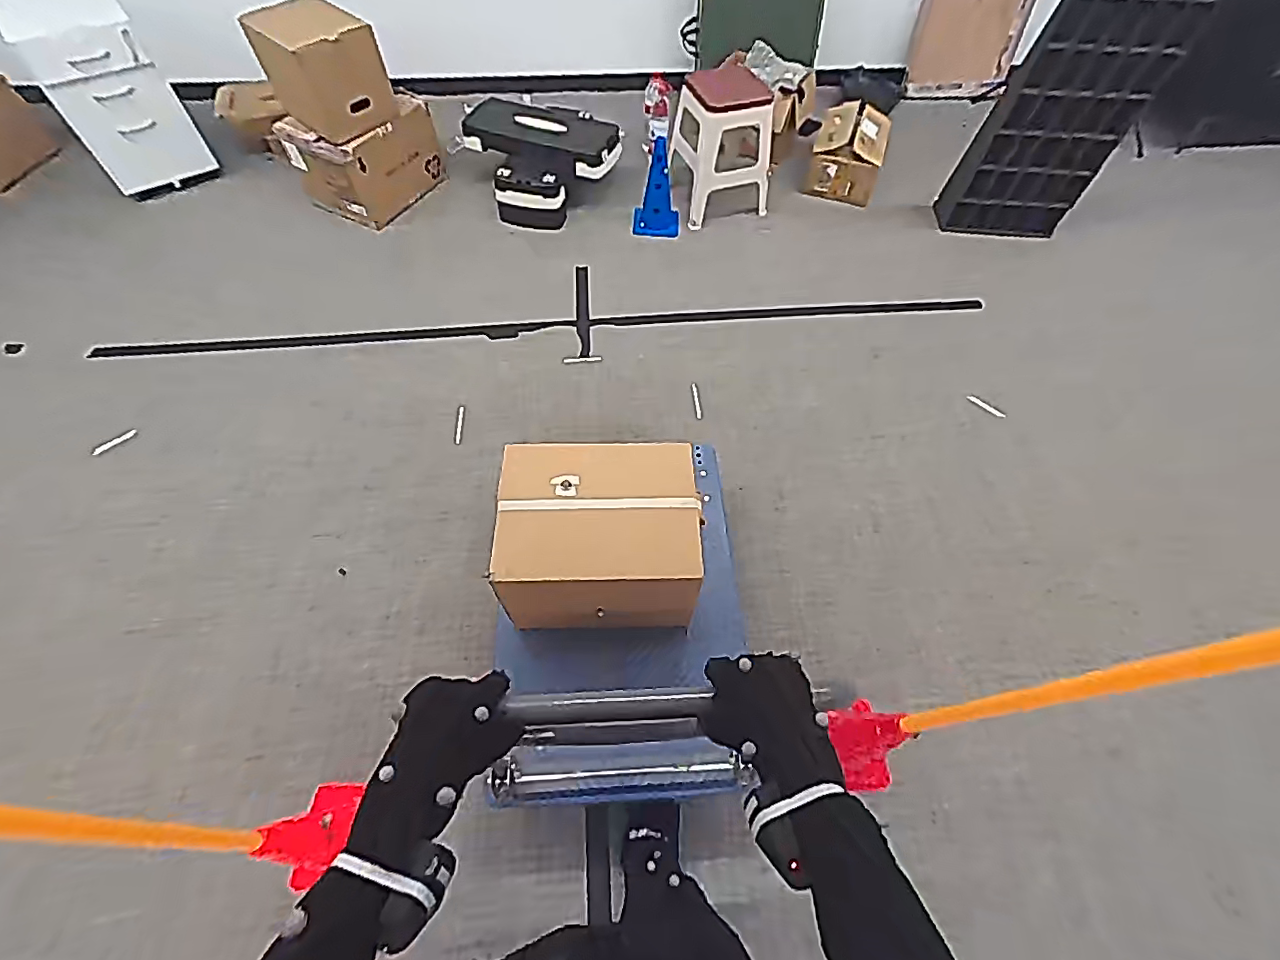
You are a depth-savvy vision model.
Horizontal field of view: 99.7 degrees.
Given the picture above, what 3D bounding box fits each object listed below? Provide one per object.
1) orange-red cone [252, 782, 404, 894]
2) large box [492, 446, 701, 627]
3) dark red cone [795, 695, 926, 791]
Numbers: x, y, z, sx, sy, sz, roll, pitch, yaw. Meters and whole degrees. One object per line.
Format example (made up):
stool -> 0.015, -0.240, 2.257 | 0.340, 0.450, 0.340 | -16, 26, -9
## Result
orange-red cone -> -0.632, 0.684, 1.042 | 0.198, 0.360, 0.199 | 3, 56, 0
large box -> -0.088, 0.138, 1.226 | 0.408, 0.320, 0.320 | -1, 58, -1
dark red cone -> 0.488, 0.531, 1.140 | 0.201, 0.394, 0.202 | -3, 58, -5
